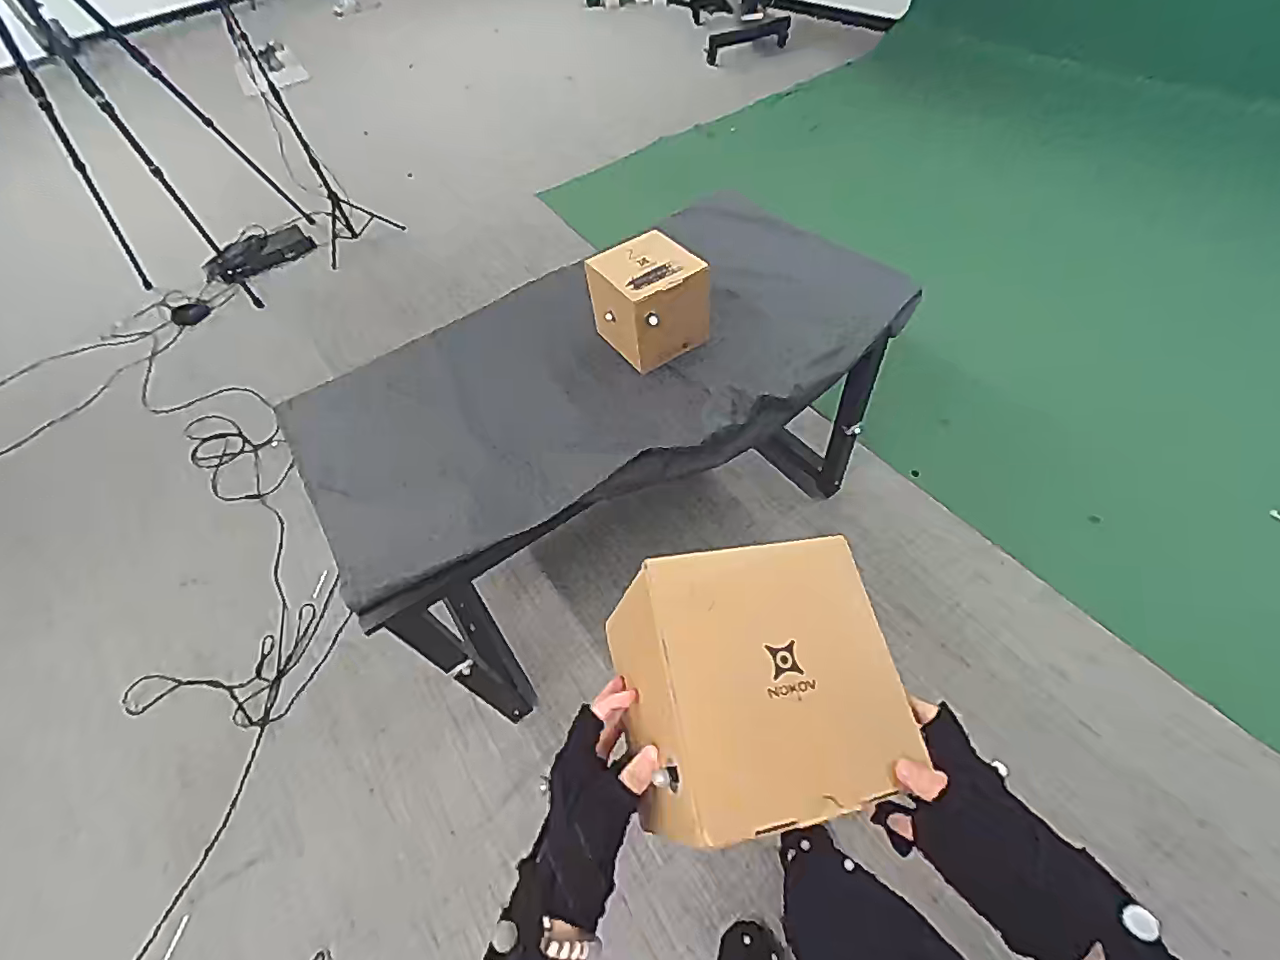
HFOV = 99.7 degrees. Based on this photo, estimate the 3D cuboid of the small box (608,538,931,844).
[{"bbox_3d":[0.077,0.164,0.431,0.168,0.176,0.179,-5,63,-17],"label":"small box"}]
